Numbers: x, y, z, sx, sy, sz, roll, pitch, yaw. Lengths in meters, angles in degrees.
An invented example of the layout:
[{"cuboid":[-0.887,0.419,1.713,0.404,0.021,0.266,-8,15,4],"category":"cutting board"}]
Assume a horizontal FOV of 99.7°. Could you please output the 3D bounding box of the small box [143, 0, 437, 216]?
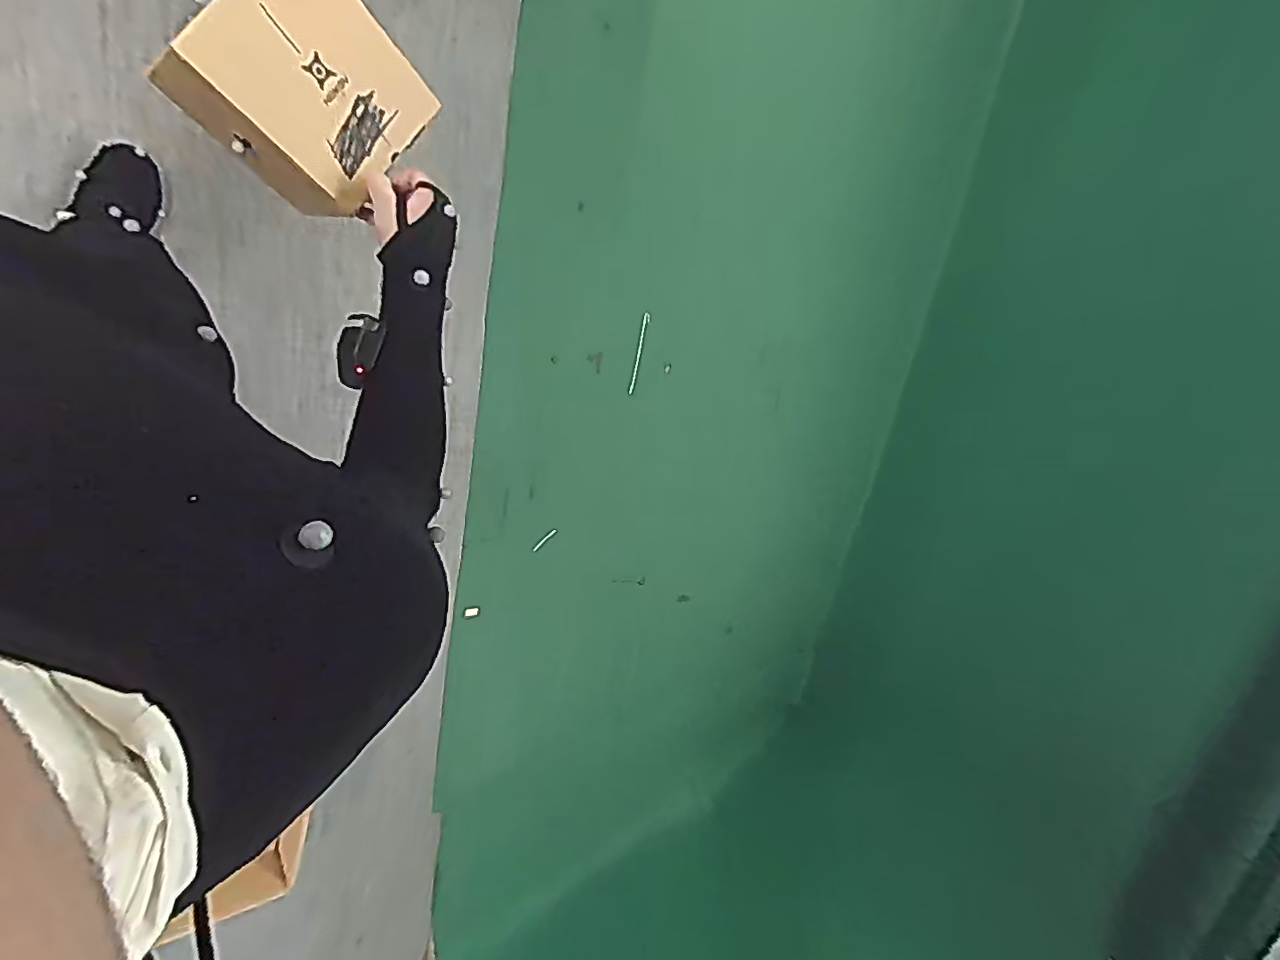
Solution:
[{"cuboid":[-0.359,-0.406,0.562,0.168,0.176,0.179,-58,140,-10],"category":"small box"}]
